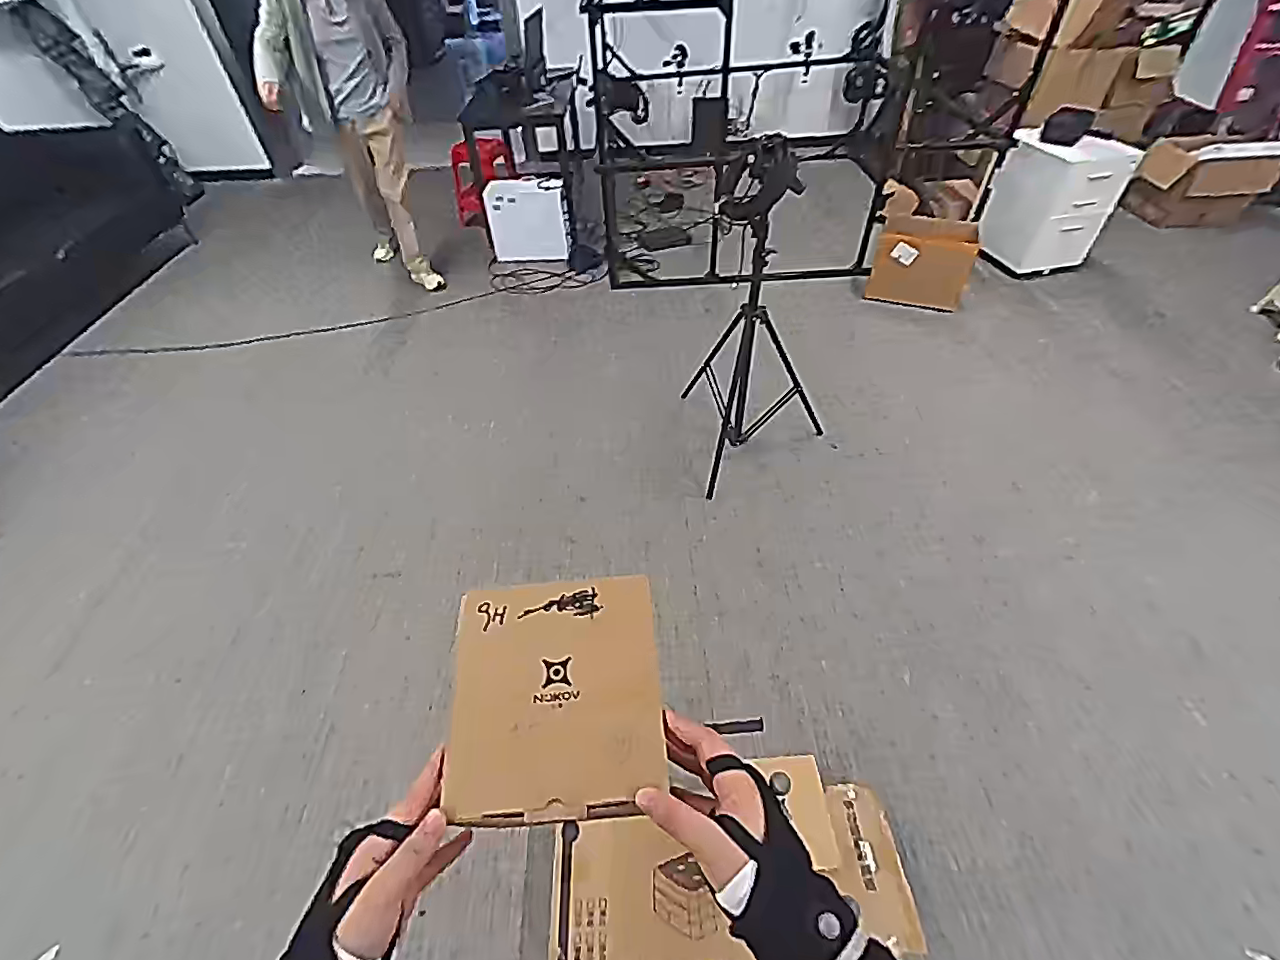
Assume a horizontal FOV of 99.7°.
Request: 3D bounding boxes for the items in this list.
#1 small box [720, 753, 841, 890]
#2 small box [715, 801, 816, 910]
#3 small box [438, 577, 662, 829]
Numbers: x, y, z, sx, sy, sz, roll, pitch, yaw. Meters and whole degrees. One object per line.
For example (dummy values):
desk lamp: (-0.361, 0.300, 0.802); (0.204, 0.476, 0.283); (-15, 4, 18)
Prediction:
small box: (0.242, 0.623, 0.986); (0.168, 0.176, 0.179); (-4, 46, 0)
small box: (0.243, 0.748, 1.095); (0.168, 0.176, 0.179); (-1, 47, 3)
small box: (-0.069, 0.207, 0.498); (0.168, 0.176, 0.179); (-6, 58, -2)
